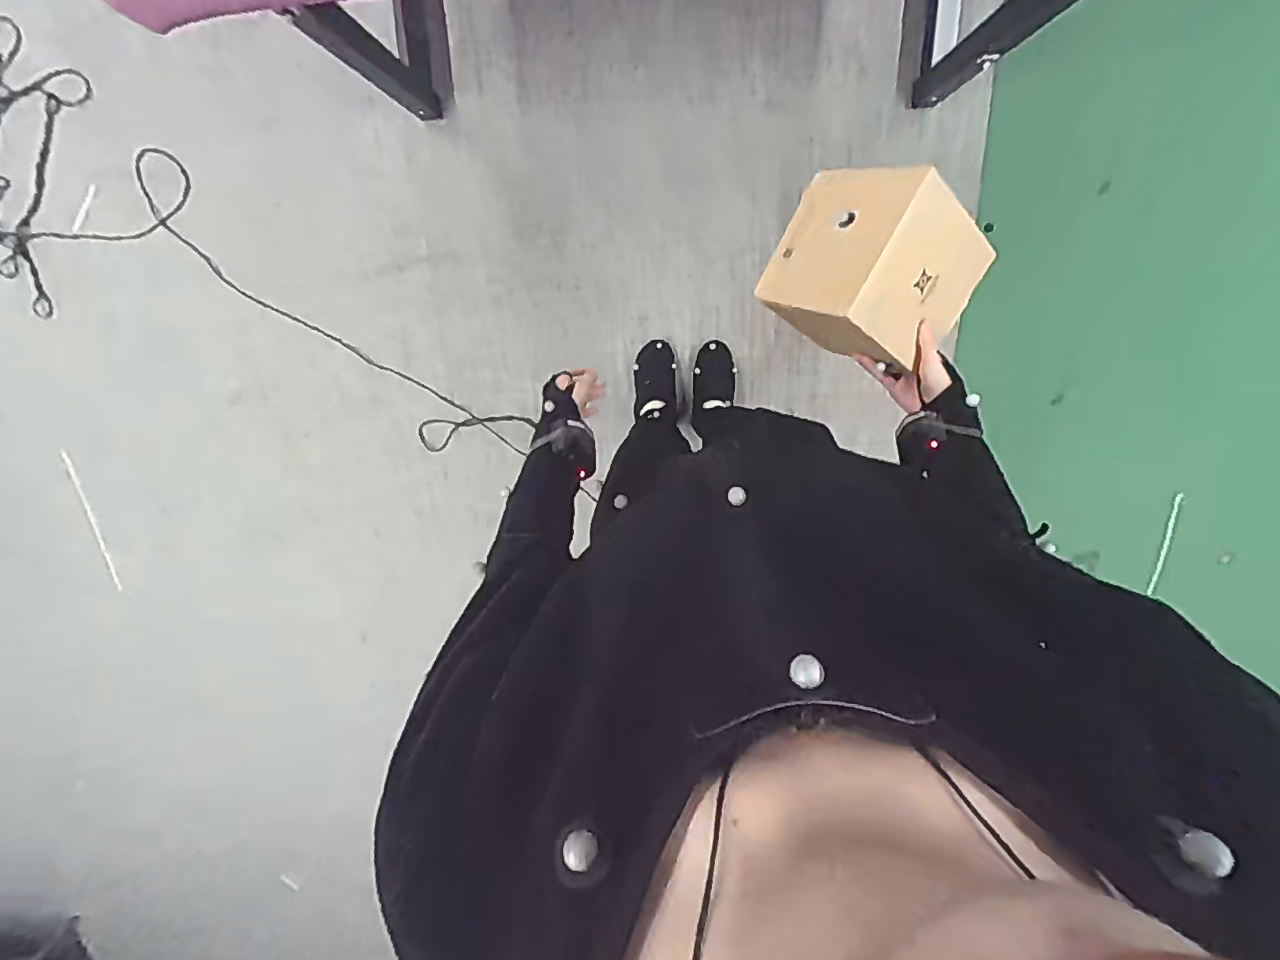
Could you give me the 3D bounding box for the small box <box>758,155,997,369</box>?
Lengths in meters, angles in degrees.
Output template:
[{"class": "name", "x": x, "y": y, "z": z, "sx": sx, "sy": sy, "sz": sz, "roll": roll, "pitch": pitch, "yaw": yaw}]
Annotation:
[{"class": "small box", "x": 0.279, "y": -0.259, "z": 0.658, "sx": 0.179, "sy": 0.176, "sz": 0.168, "roll": 18, "pitch": 105, "yaw": -37}]
